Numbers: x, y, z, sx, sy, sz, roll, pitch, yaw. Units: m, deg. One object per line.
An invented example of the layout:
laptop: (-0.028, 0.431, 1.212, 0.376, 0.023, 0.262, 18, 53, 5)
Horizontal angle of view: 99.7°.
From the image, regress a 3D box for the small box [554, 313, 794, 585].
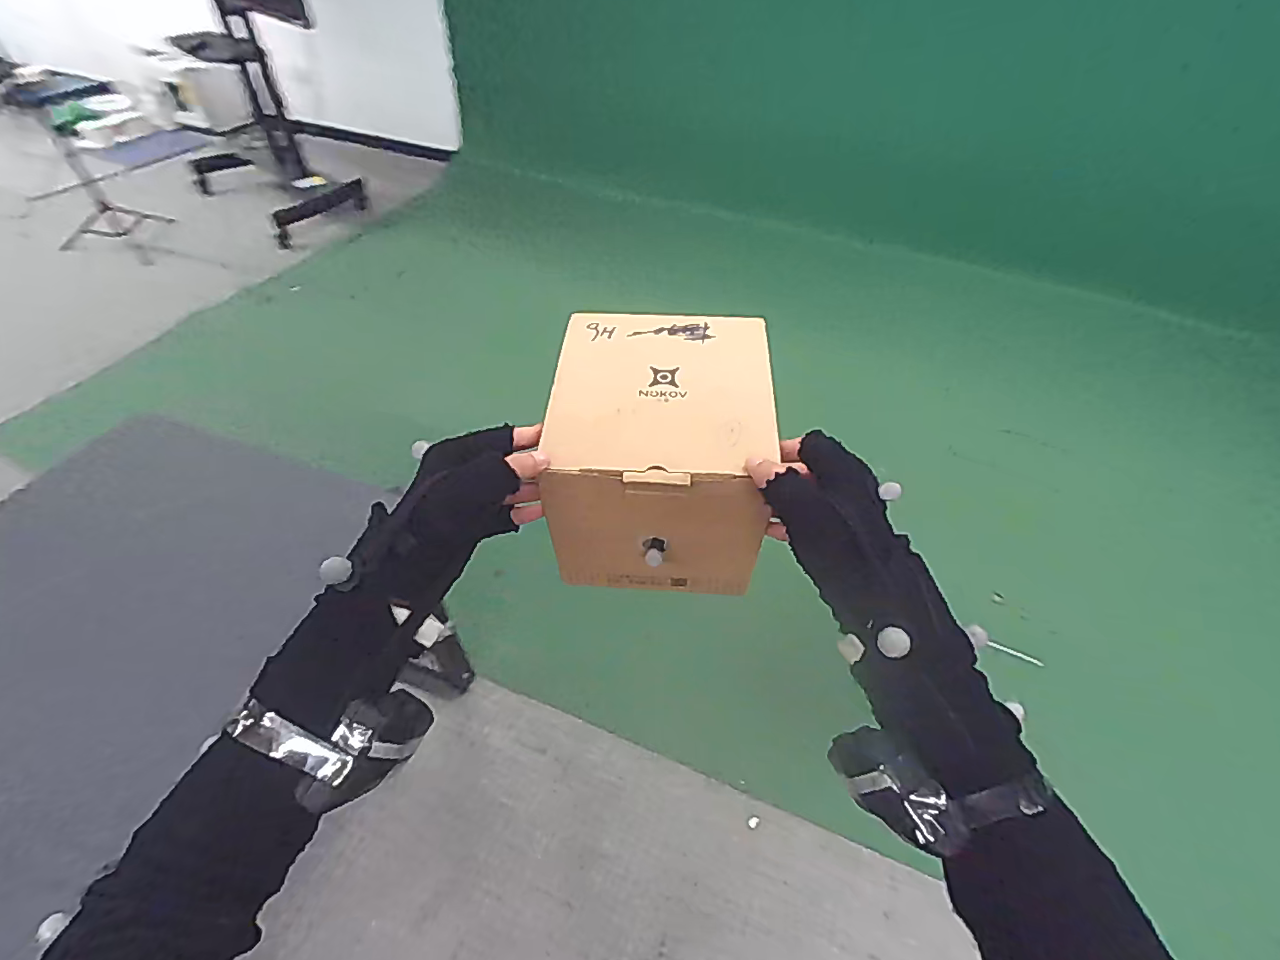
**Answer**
small box: (0.031, -0.022, 0.474, 0.168, 0.176, 0.179, 3, 53, 3)
